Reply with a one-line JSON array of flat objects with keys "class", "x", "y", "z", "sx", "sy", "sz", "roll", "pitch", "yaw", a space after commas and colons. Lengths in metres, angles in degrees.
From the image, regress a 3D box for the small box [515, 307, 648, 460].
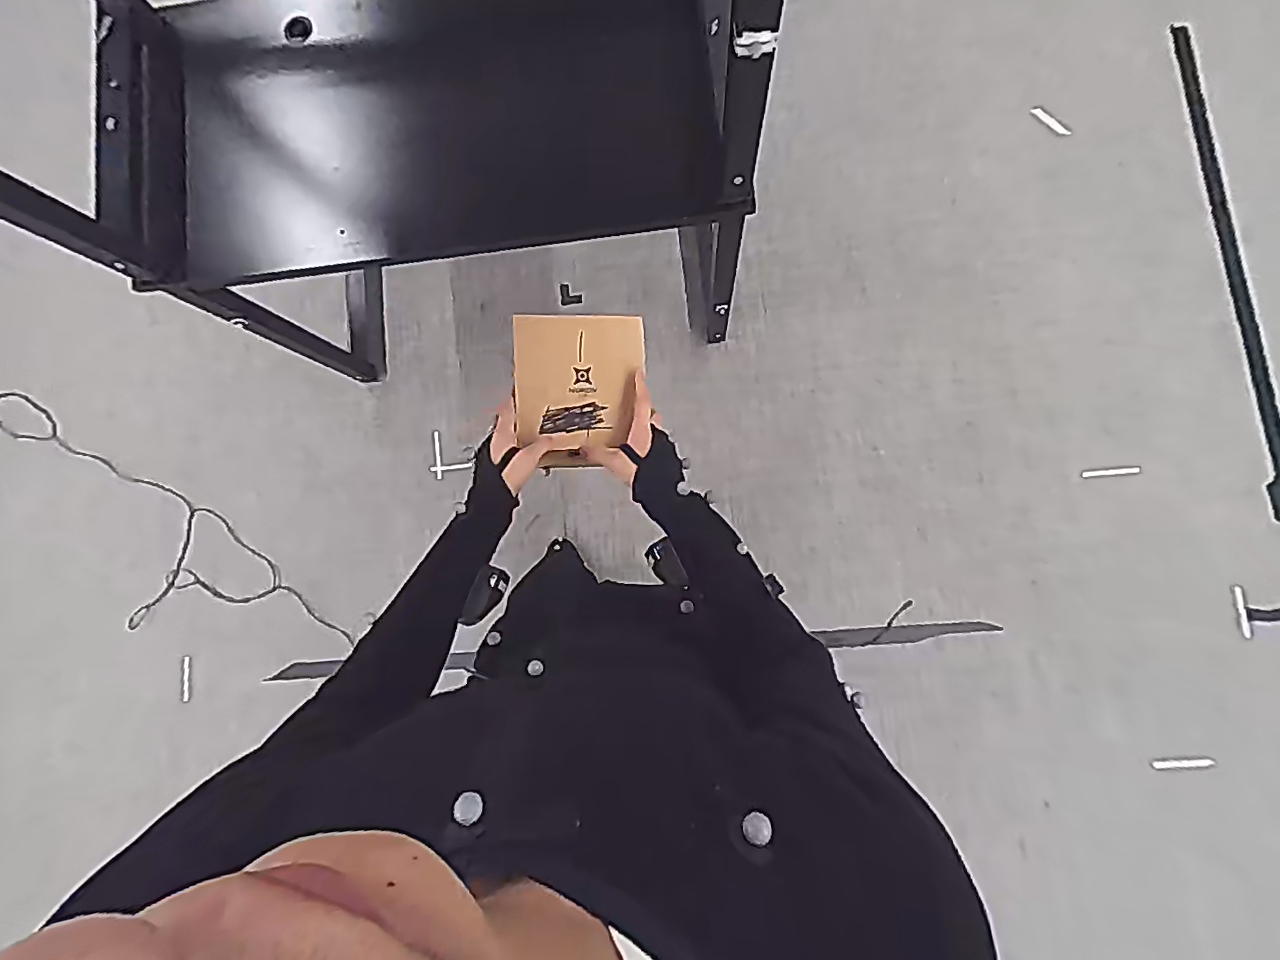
[{"class": "small box", "x": -0.083, "y": -0.121, "z": 0.748, "sx": 0.168, "sy": 0.176, "sz": 0.179, "roll": -1, "pitch": 84, "yaw": -9}]
